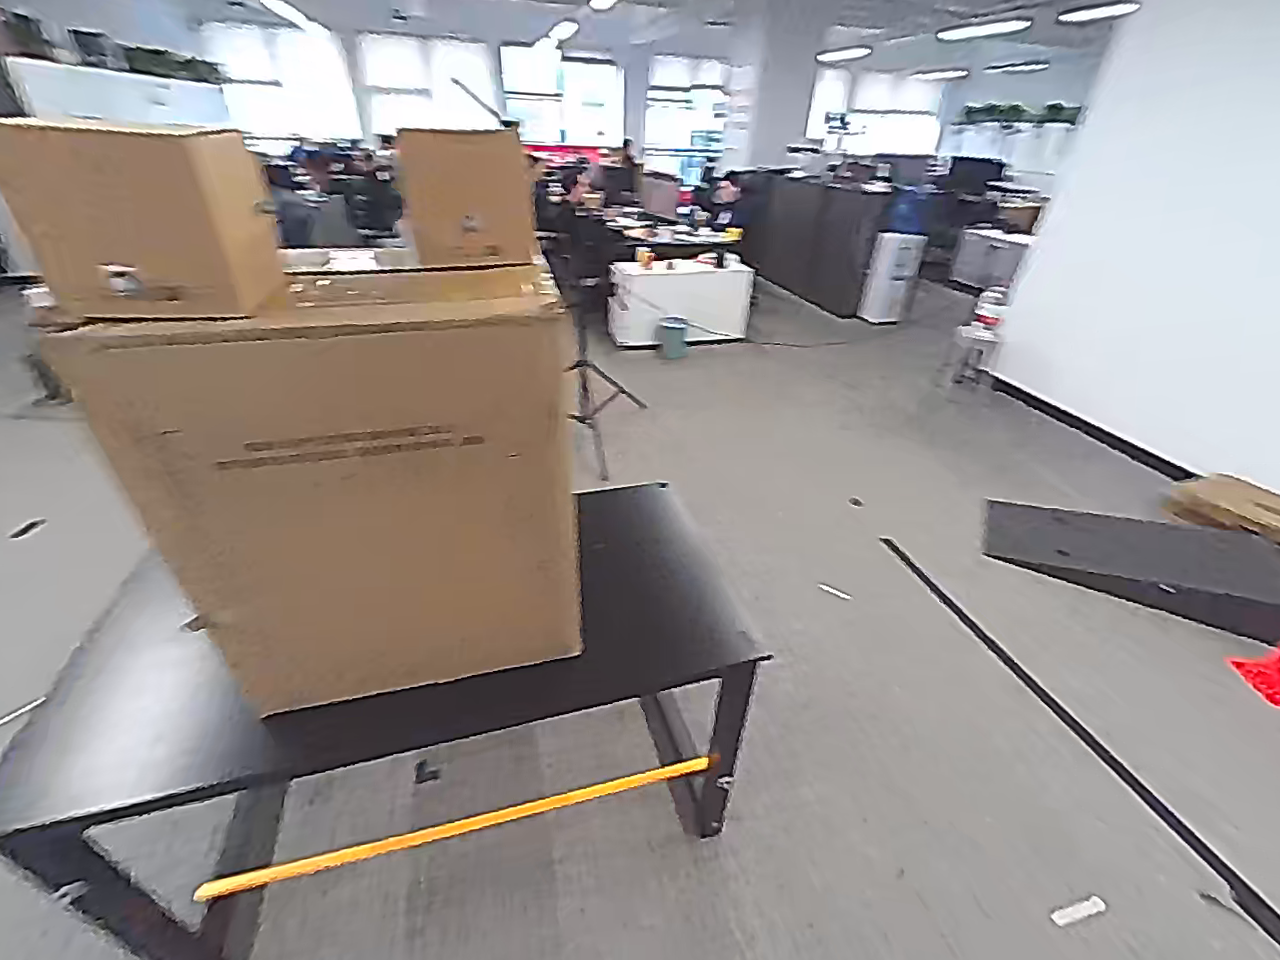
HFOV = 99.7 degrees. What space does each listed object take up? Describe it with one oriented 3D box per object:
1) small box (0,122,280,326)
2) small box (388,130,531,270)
[{"bbox_3d":[-0.512,-0.272,0.575,0.168,0.176,0.179,-7,36,-16],"label":"small box"},{"bbox_3d":[-0.260,-0.413,0.803,0.168,0.176,0.179,-9,32,-14],"label":"small box"}]
